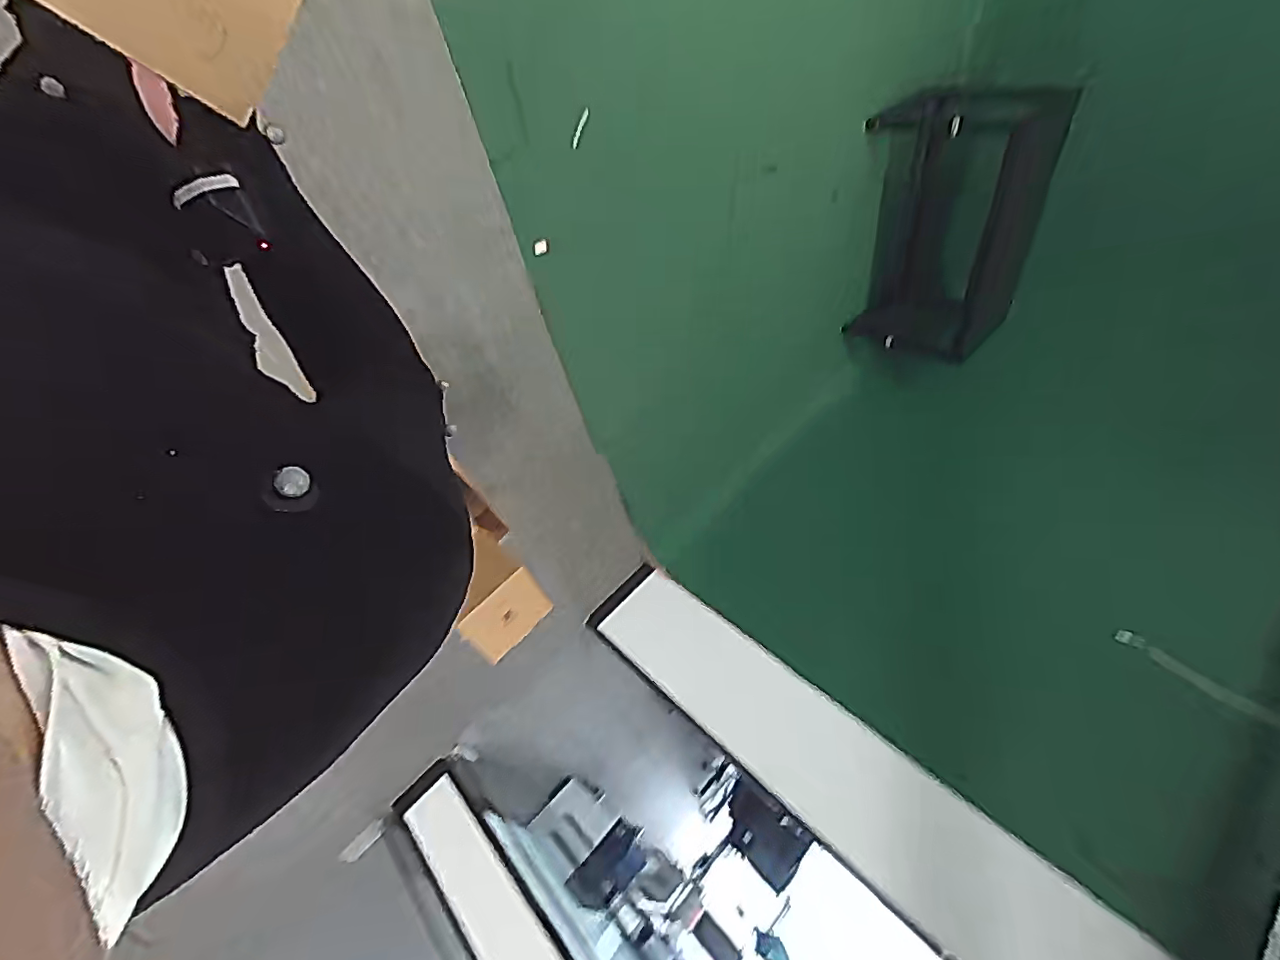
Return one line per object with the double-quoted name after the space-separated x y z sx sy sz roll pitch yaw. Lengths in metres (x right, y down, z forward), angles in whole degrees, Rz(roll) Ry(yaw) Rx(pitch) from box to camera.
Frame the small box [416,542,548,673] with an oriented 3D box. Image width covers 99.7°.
-0.328 0.260 1.129 0.168 0.176 0.179 -43 141 -22 "small box"
